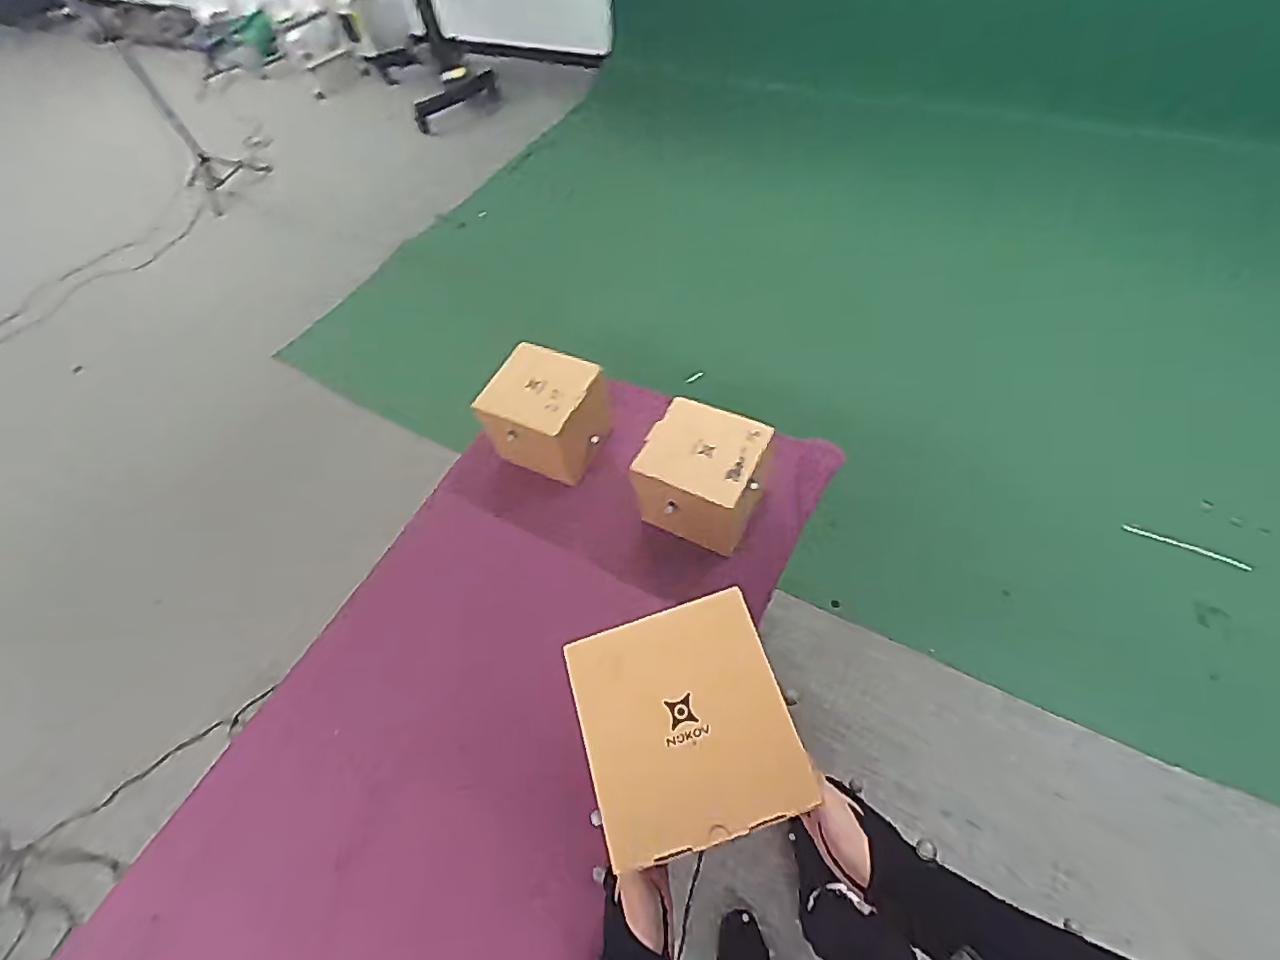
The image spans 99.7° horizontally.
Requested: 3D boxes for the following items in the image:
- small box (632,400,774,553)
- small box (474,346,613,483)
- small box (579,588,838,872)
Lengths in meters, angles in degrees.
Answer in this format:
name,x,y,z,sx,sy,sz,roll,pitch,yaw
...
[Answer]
name,x,y,z,sx,sy,sz,roll,pitch,yaw
small box,0.109,-0.002,0.911,0.179,0.176,0.168,22,63,21
small box,-0.171,-0.118,1.015,0.179,0.176,0.168,21,64,18
small box,0.055,0.226,0.503,0.168,0.176,0.179,-18,62,-1
